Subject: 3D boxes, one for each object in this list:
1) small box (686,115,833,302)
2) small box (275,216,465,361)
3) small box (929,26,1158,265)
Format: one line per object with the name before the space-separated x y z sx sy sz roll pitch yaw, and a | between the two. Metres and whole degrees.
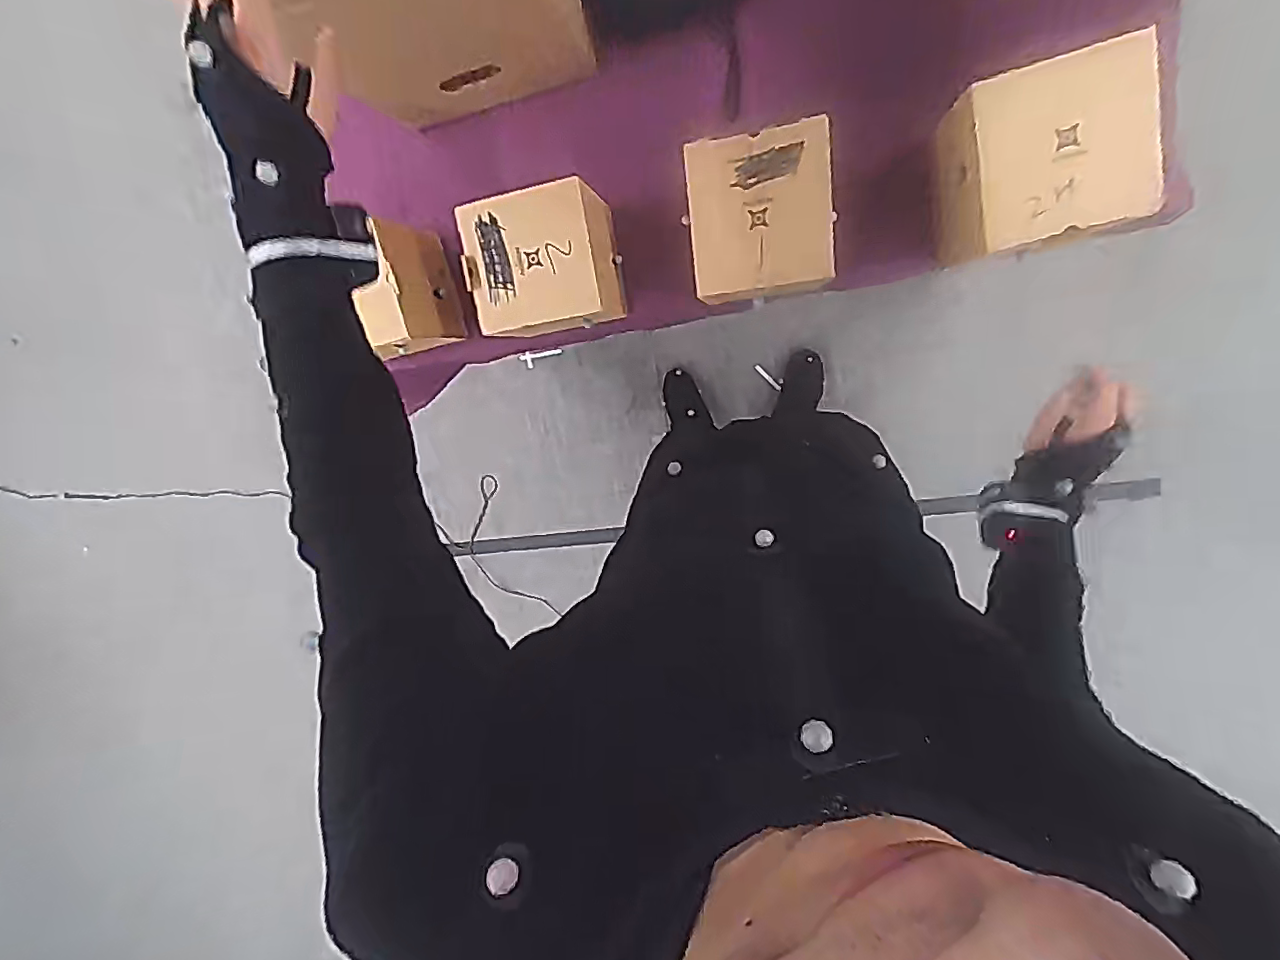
small box | 0.156 -0.339 0.713 0.168 0.176 0.179 -4 105 13
small box | -0.408 -0.285 0.844 0.179 0.176 0.168 -11 102 13
small box | 0.459 -0.371 0.641 0.168 0.176 0.179 -9 103 15
